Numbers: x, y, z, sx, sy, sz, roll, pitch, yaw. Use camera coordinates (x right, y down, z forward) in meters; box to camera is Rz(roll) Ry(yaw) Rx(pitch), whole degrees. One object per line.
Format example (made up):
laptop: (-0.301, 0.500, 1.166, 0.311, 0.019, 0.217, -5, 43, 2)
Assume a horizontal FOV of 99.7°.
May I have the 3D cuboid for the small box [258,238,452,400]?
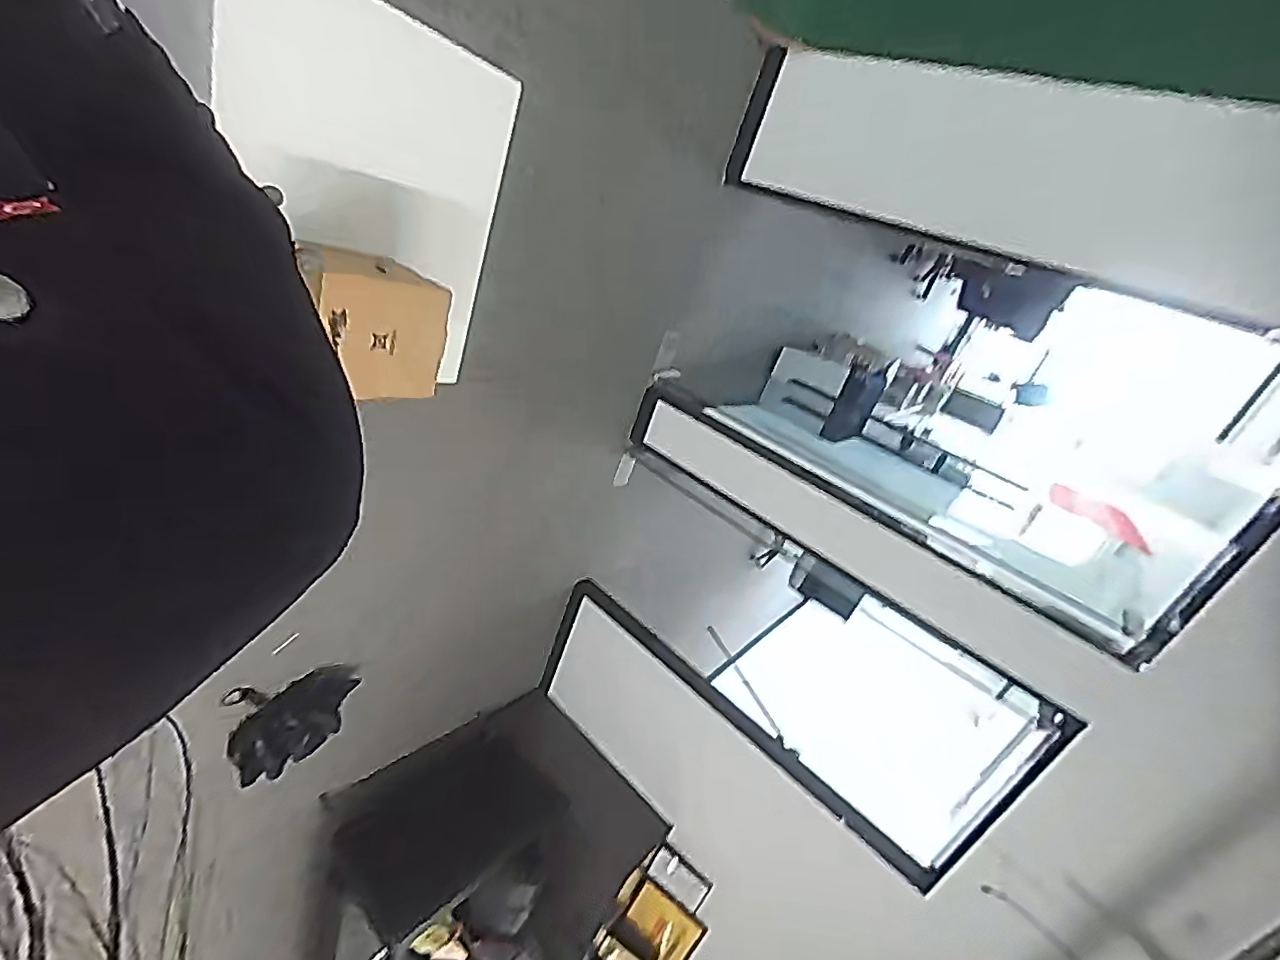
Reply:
small box: (-0.400, -0.222, 0.761, 0.179, 0.176, 0.168, -12, 129, -52)
